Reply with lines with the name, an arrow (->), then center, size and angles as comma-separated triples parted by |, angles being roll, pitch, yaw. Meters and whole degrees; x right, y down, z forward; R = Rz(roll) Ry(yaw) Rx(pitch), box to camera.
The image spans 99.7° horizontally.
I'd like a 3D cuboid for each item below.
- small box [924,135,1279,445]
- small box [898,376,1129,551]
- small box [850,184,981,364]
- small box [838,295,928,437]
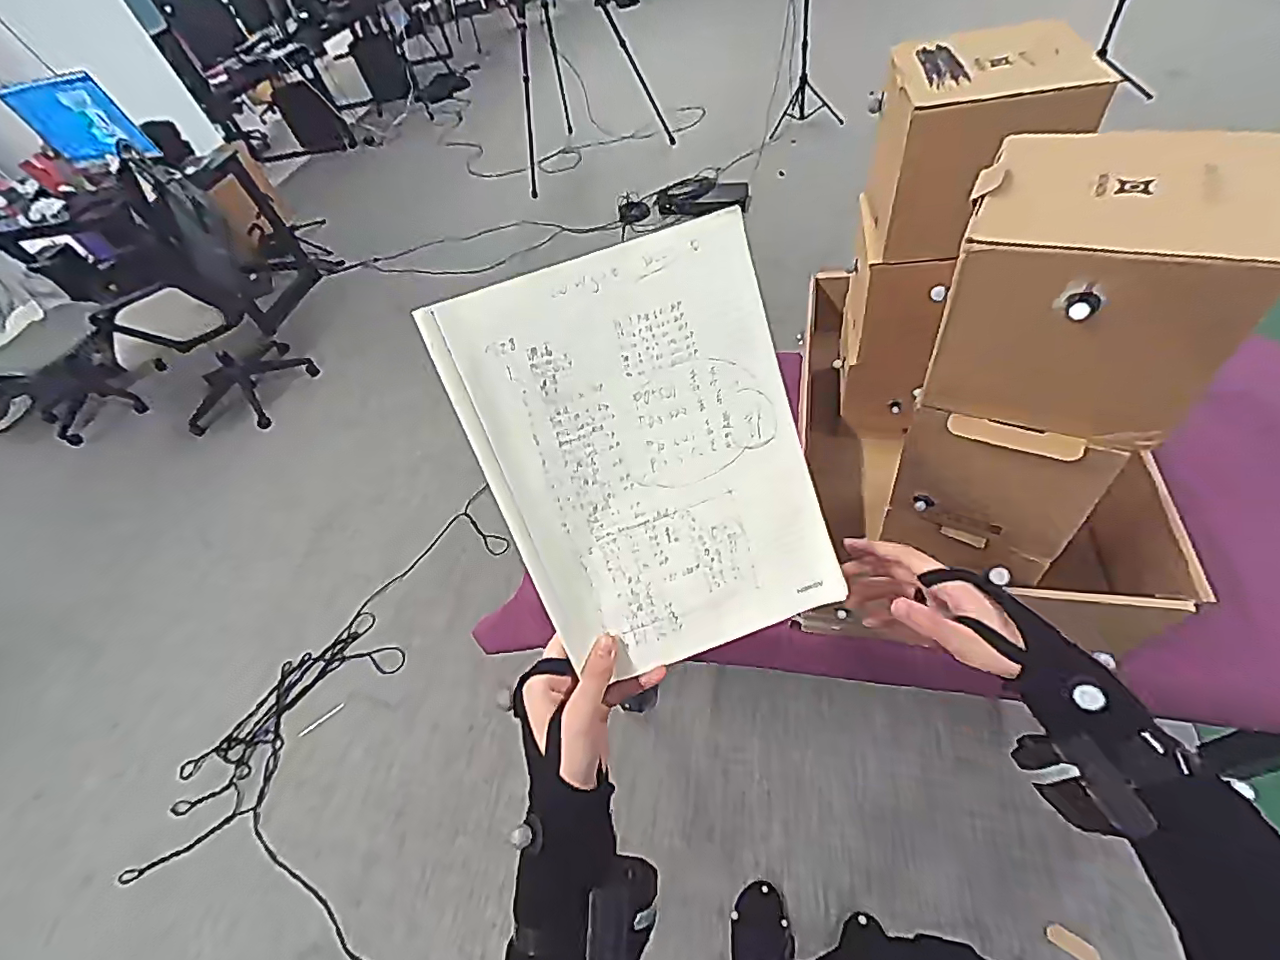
small box -> 0.352, -0.152, 0.438 | 0.179, 0.176, 0.168 | 19, 59, 27
small box -> 0.385, -0.055, 0.565 | 0.168, 0.176, 0.179 | 21, 59, 29
small box -> 0.388, -0.274, 0.743 | 0.179, 0.176, 0.168 | 1, 55, 14
small box -> 0.415, -0.182, 0.873 | 0.168, 0.176, 0.179 | 3, 55, 16
